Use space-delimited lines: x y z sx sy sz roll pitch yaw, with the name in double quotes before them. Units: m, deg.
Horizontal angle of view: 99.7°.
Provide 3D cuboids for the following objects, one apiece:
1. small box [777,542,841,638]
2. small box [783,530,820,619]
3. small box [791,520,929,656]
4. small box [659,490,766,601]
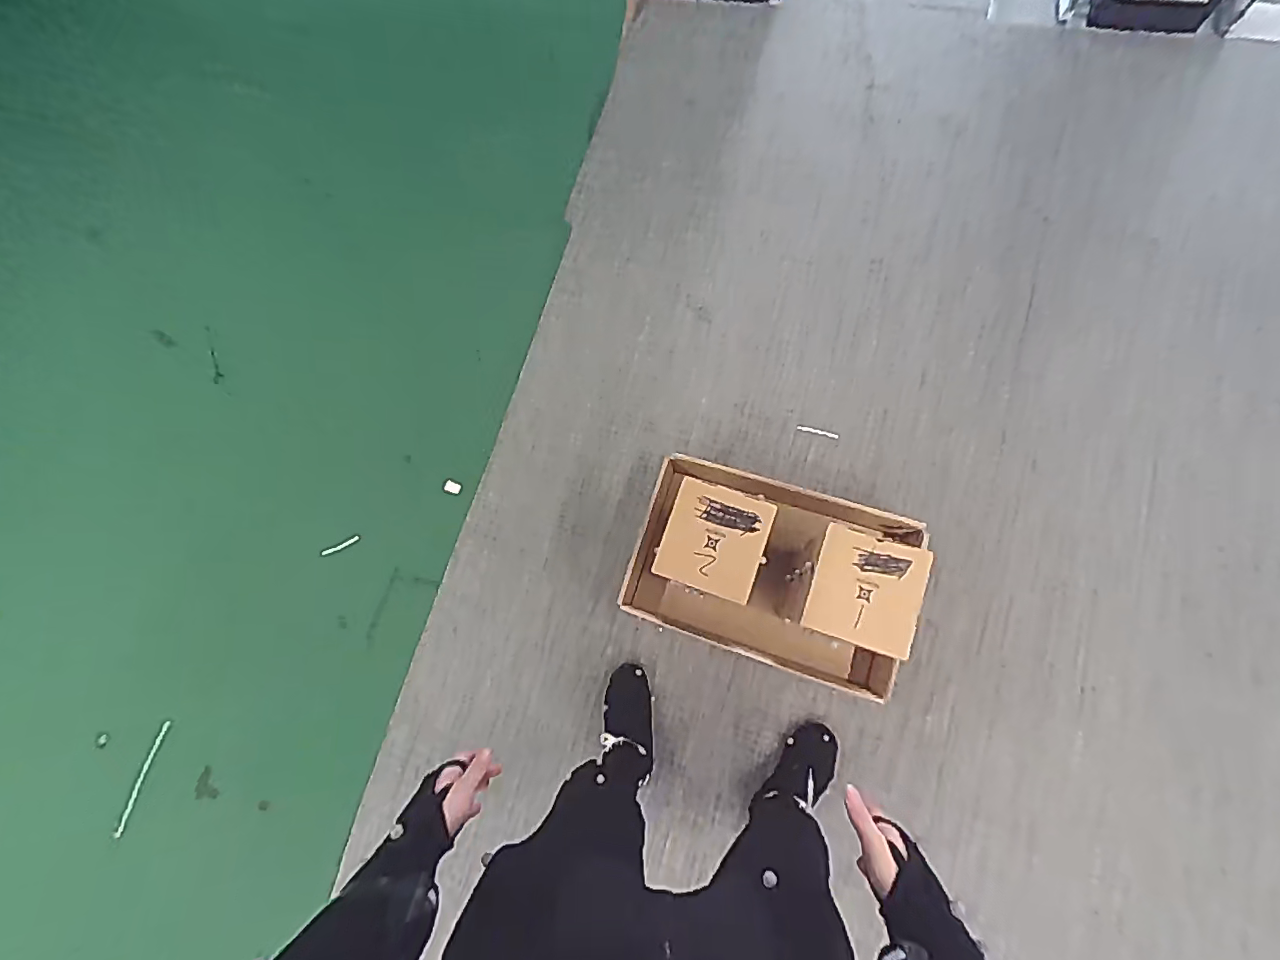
"small box" 0.421 0.257 1.256 0.168 0.176 0.179 16 80 12
"small box" 0.398 0.218 1.100 0.168 0.176 0.179 18 81 13
"small box" 0.370 0.186 0.941 0.168 0.176 0.179 17 81 13
"small box" 0.151 0.144 1.145 0.168 0.176 0.179 21 80 12
